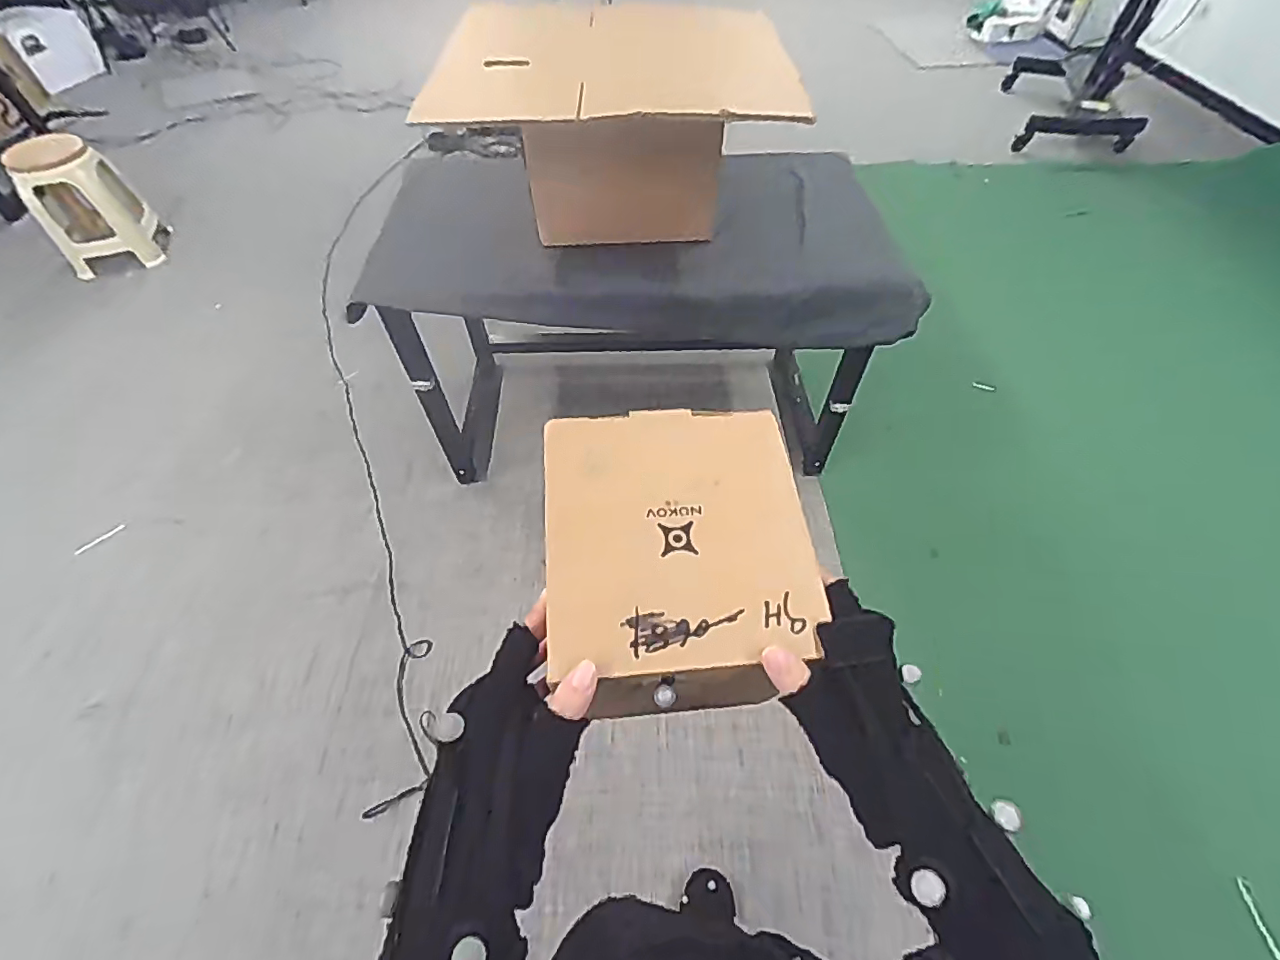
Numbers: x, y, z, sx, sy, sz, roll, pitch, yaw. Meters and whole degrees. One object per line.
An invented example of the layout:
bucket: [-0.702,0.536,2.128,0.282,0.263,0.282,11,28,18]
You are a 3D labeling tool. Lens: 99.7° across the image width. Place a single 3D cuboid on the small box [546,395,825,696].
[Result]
small box: [0.016,0.055,0.420,0.168,0.176,0.179,-4,59,-5]
